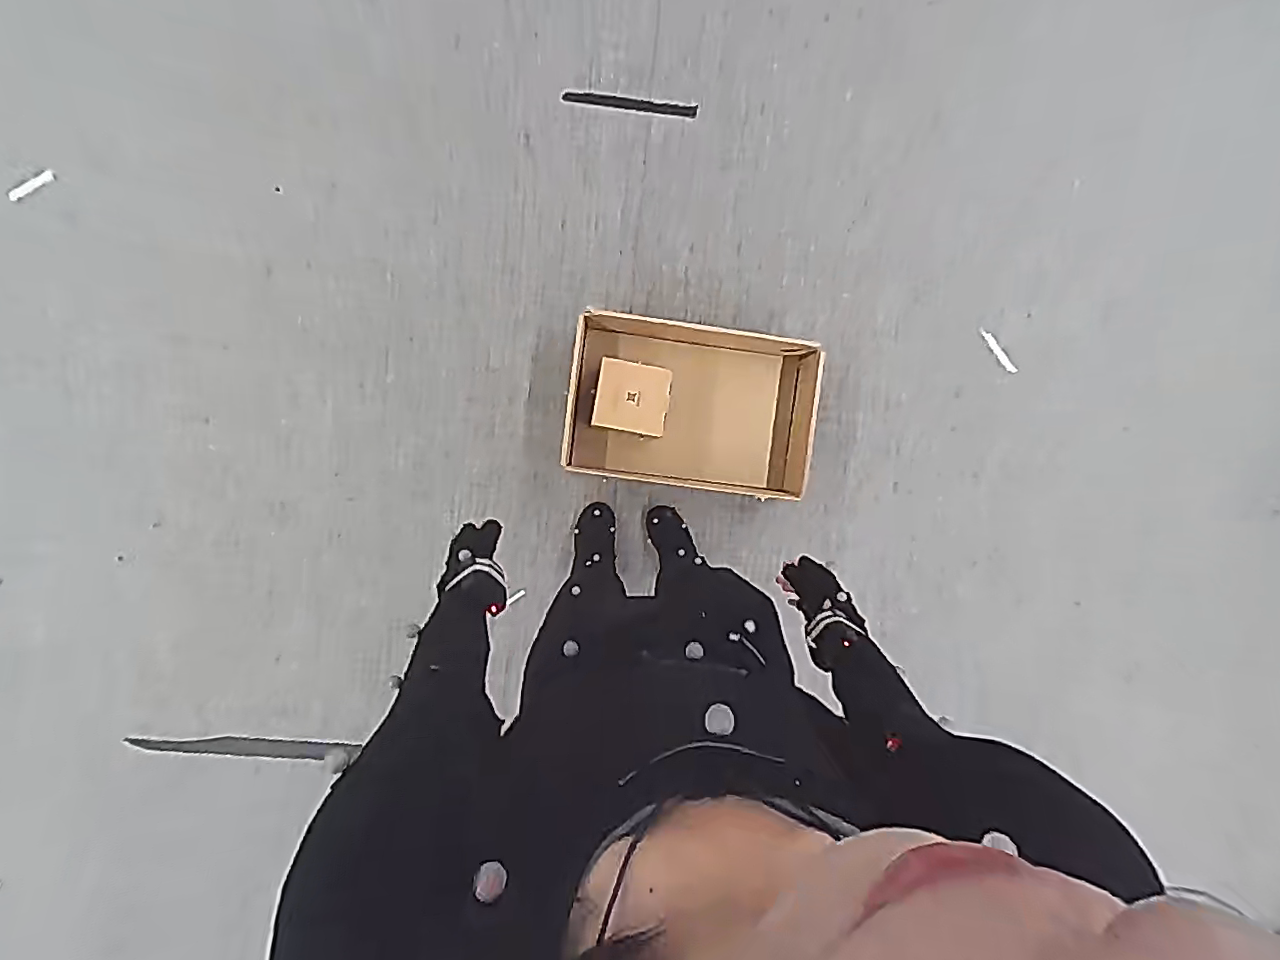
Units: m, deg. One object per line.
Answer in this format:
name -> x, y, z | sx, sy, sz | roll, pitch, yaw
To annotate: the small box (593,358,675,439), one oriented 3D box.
small box -> -0.020, -0.200, 1.370 | 0.179, 0.176, 0.168 | 10, 91, -5
